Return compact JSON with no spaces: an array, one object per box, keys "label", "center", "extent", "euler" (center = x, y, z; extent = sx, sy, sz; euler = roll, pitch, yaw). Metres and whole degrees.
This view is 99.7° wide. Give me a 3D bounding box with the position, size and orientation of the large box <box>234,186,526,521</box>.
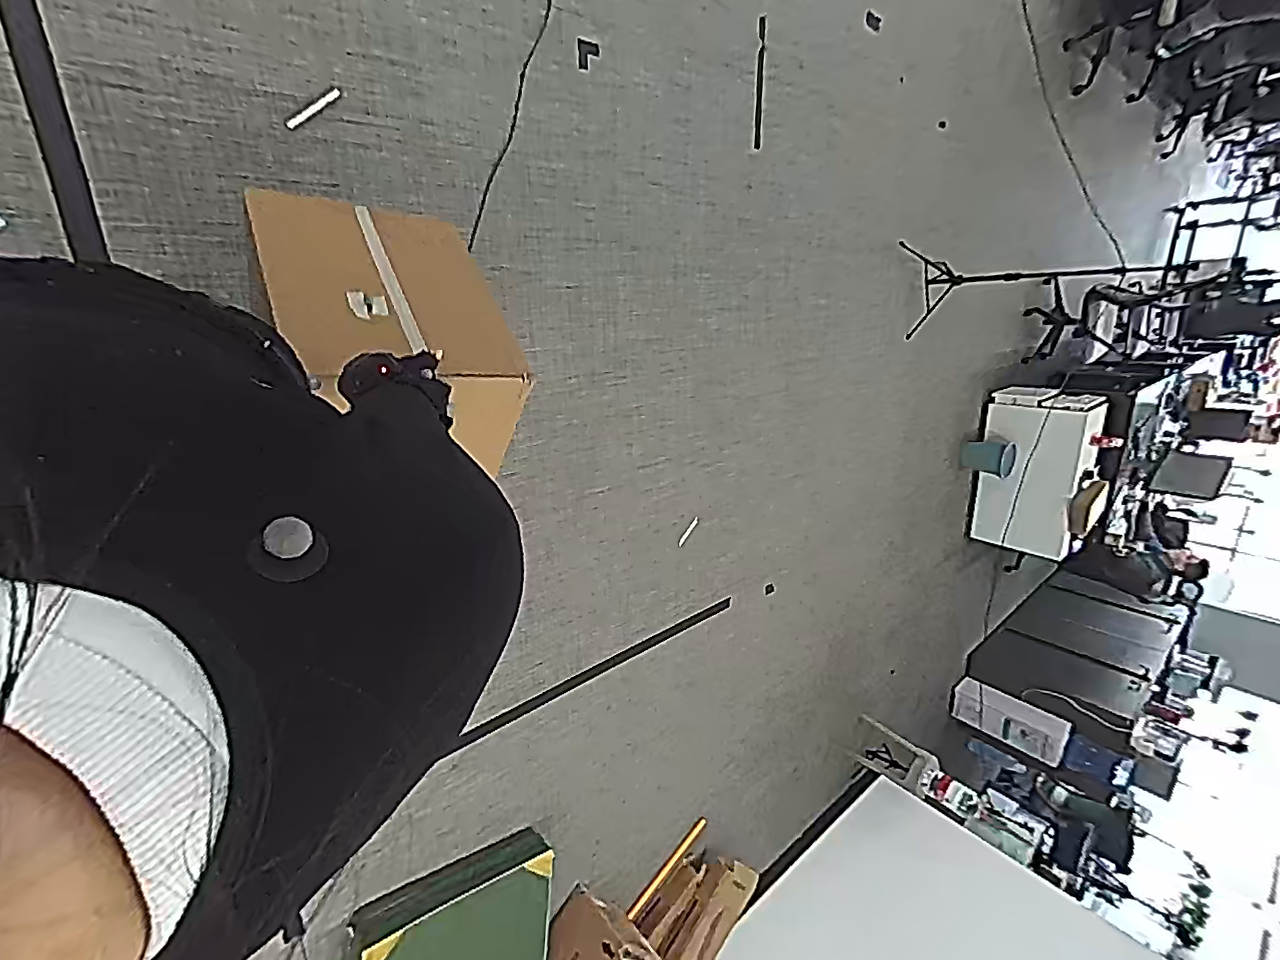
[{"label":"large box","center":[-0.439,-0.198,0.888],"extent":[0.320,0.408,0.320],"euler":[-9,149,-36]}]
